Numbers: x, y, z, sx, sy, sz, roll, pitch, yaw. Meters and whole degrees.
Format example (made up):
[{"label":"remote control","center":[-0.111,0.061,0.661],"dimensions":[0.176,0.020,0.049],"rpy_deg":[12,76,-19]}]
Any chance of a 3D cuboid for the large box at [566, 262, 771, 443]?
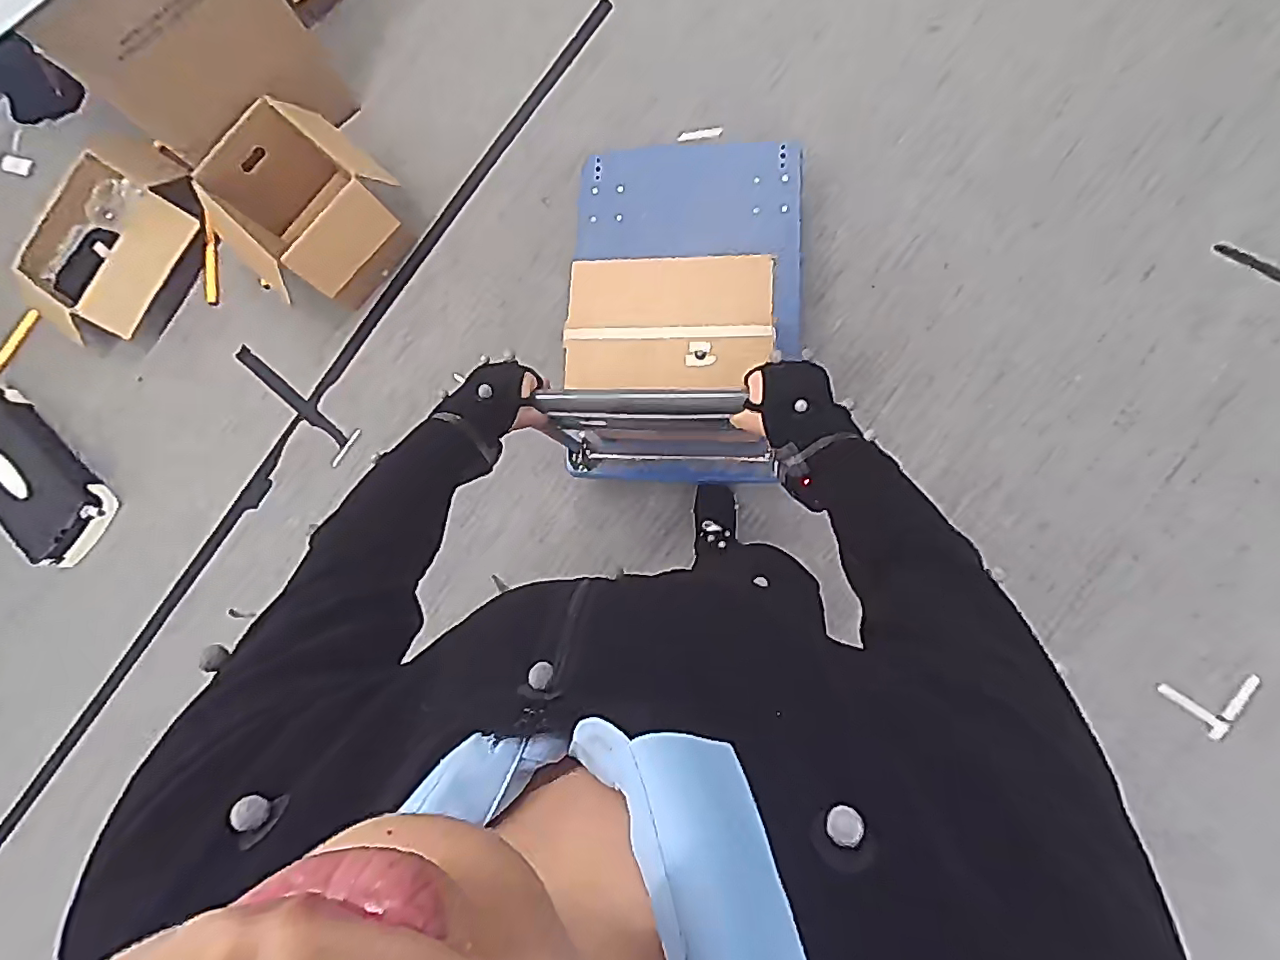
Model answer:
[{"label":"large box","center":[0.069,-0.260,1.206],"dimensions":[0.408,0.320,0.320],"rpy_deg":[2,85,8]}]
